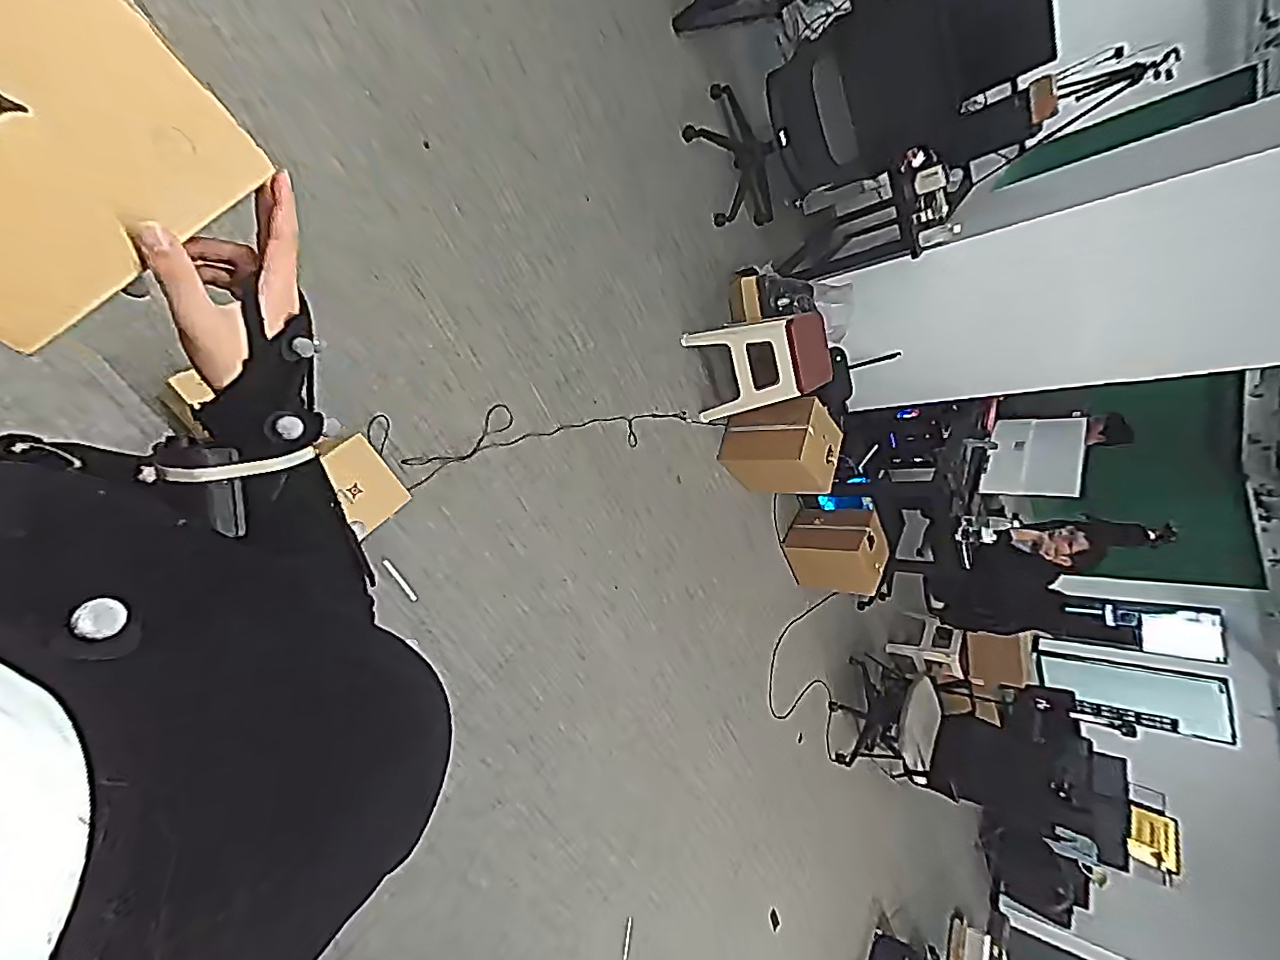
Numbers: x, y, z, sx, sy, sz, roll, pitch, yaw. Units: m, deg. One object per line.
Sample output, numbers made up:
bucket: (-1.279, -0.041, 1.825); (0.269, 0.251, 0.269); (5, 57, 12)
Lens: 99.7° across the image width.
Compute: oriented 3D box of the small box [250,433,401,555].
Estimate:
small box: (-0.621, 0.025, 1.066); (0.179, 0.176, 0.168); (-48, 121, -36)

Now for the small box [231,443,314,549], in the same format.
small box: (-0.741, 0.028, 1.179); (0.179, 0.176, 0.168); (-46, 121, -36)
